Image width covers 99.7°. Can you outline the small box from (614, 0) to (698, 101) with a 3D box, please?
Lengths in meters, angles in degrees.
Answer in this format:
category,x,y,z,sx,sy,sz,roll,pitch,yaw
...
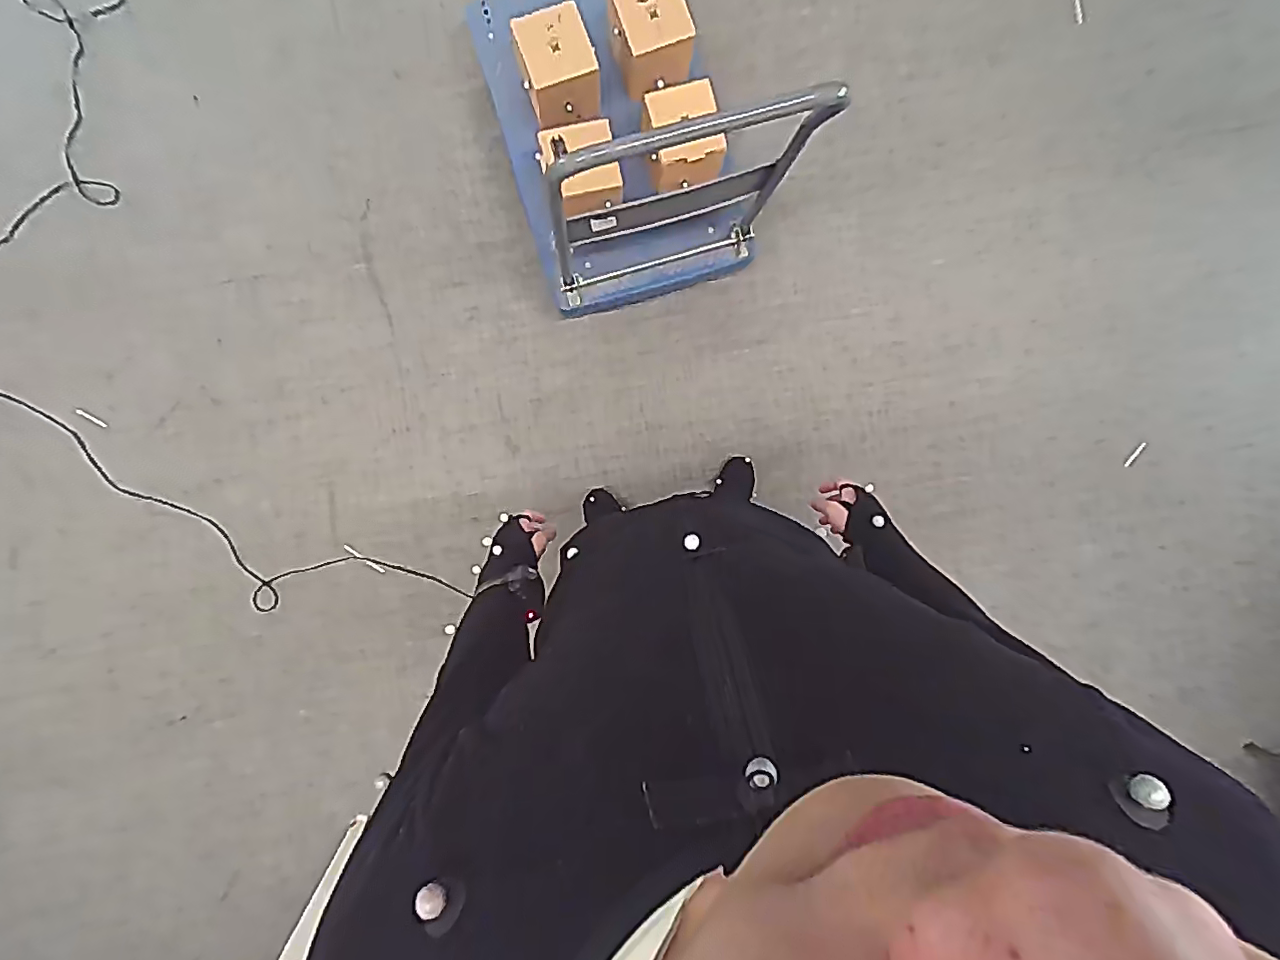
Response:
category,x,y,z,sx,sy,sz,roll,pitch,yaw
small box,0.034,-1.133,1.390,0.168,0.176,0.179,-20,92,-1

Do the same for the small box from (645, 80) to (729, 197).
category,x,y,z,sx,sy,sz,roll,pitch,yaw
small box,0.113,-0.874,1.397,0.168,0.176,0.179,-16,91,-2

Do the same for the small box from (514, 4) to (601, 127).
category,x,y,z,sx,sy,sz,roll,pitch,yaw
small box,-0.201,-1.043,1.382,0.168,0.176,0.179,-20,91,-3
